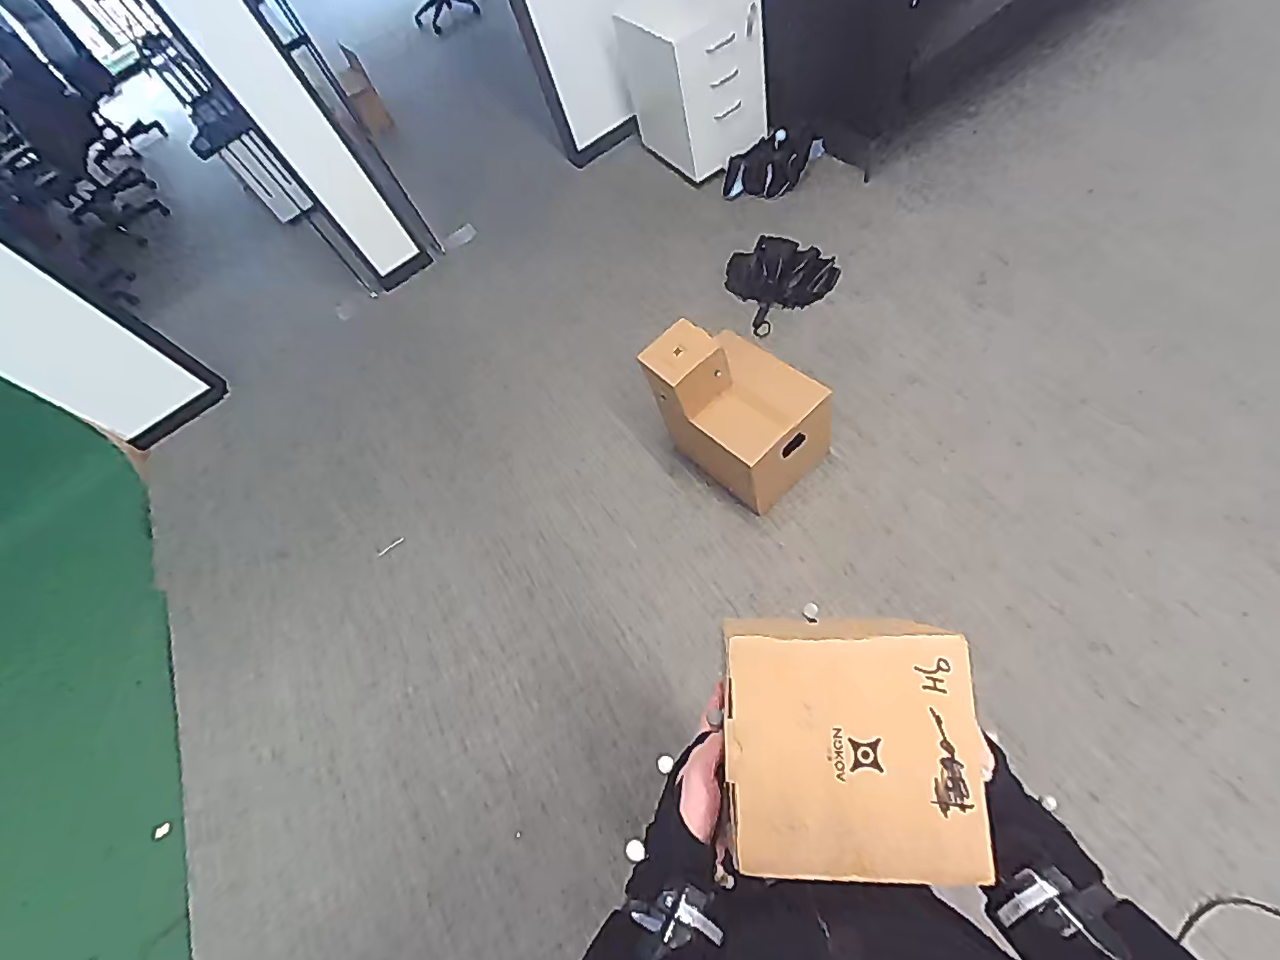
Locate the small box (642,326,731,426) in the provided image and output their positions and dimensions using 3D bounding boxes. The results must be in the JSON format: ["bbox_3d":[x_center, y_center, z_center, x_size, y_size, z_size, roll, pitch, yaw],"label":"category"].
[{"bbox_3d":[0.137,-0.286,1.506,0.179,0.176,0.168,-42,56,-4],"label":"small box"}]
